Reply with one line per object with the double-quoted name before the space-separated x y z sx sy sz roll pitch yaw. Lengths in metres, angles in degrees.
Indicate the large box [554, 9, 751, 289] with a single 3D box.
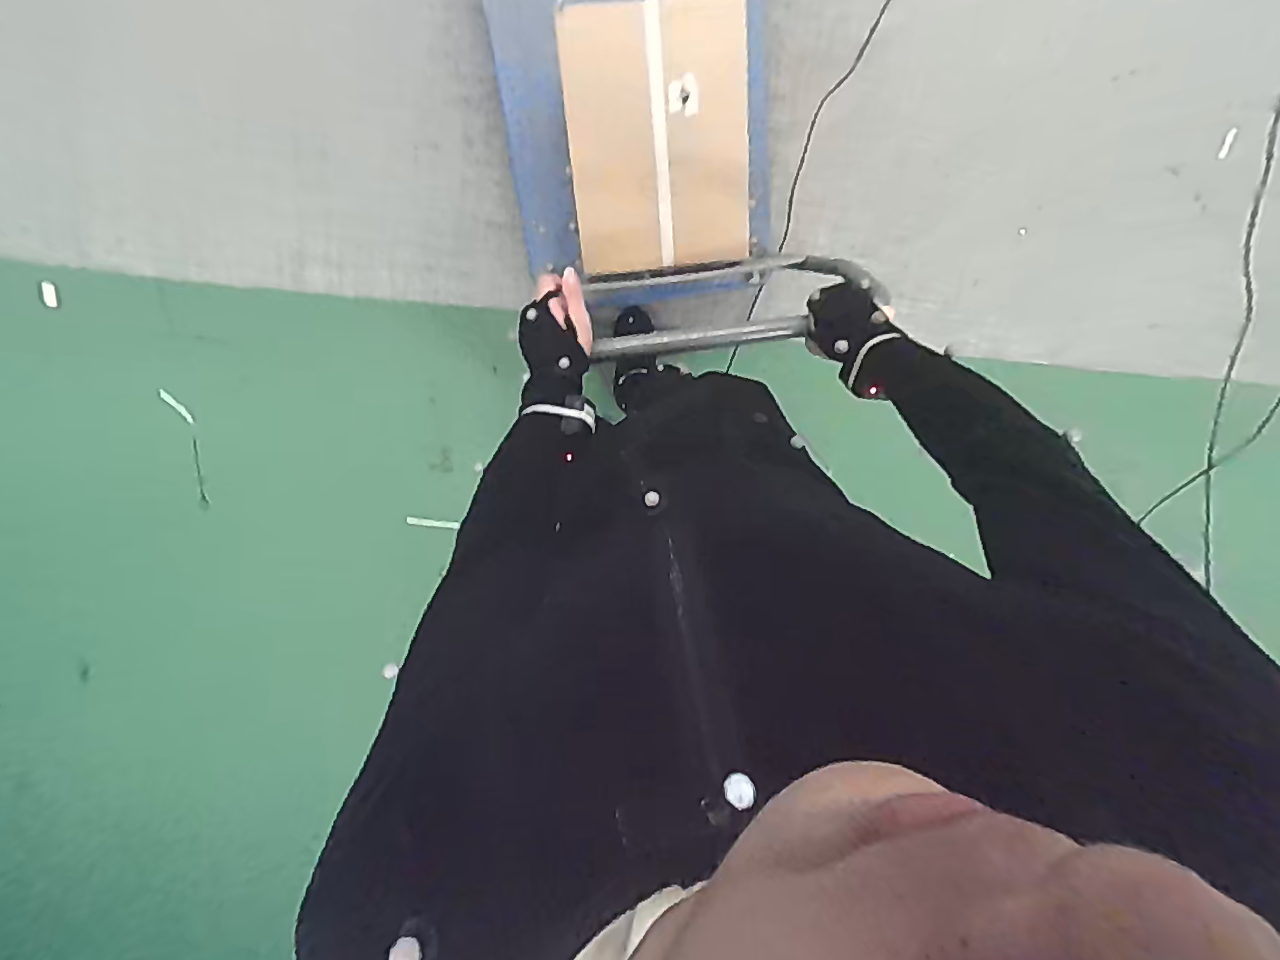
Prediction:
"large box" 0.027 -0.614 1.086 0.320 0.320 0.408 -7 109 -2
